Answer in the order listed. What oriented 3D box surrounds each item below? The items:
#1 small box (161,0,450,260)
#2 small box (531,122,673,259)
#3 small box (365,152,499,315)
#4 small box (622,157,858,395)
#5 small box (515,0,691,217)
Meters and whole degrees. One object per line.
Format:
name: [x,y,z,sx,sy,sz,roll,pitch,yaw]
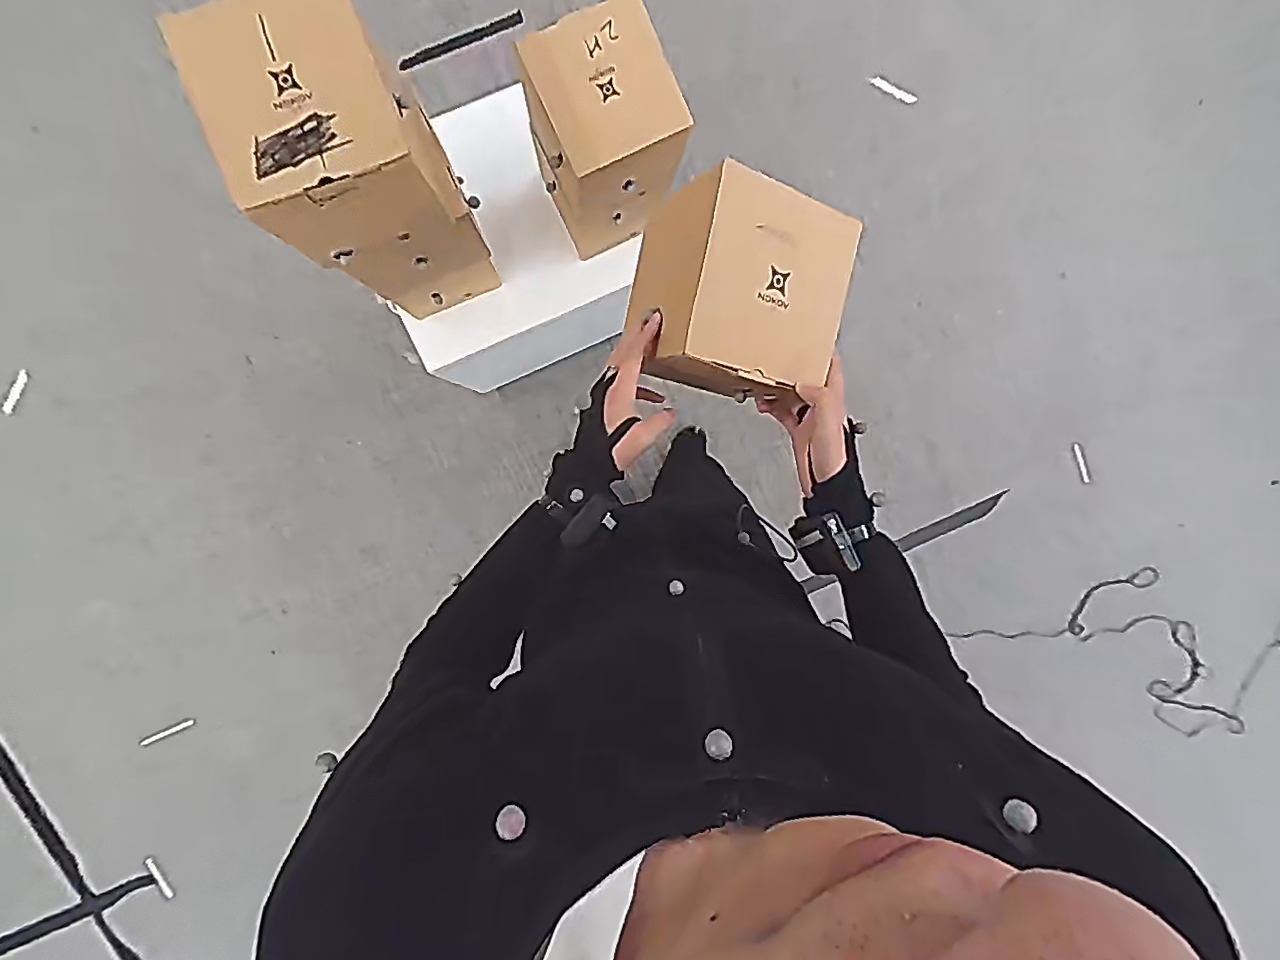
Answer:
small box: [-0.321,-0.351,0.564,0.168,0.176,0.179,-21,96,-3]
small box: [-0.064,-0.505,0.906,0.168,0.176,0.179,-27,97,-2]
small box: [-0.349,-0.388,0.890,0.168,0.176,0.179,-24,97,-4]
small box: [0.093,-0.192,0.573,0.168,0.176,0.179,9,94,-25]
small box: [-0.049,-0.490,0.742,0.168,0.176,0.179,-26,97,-2]
